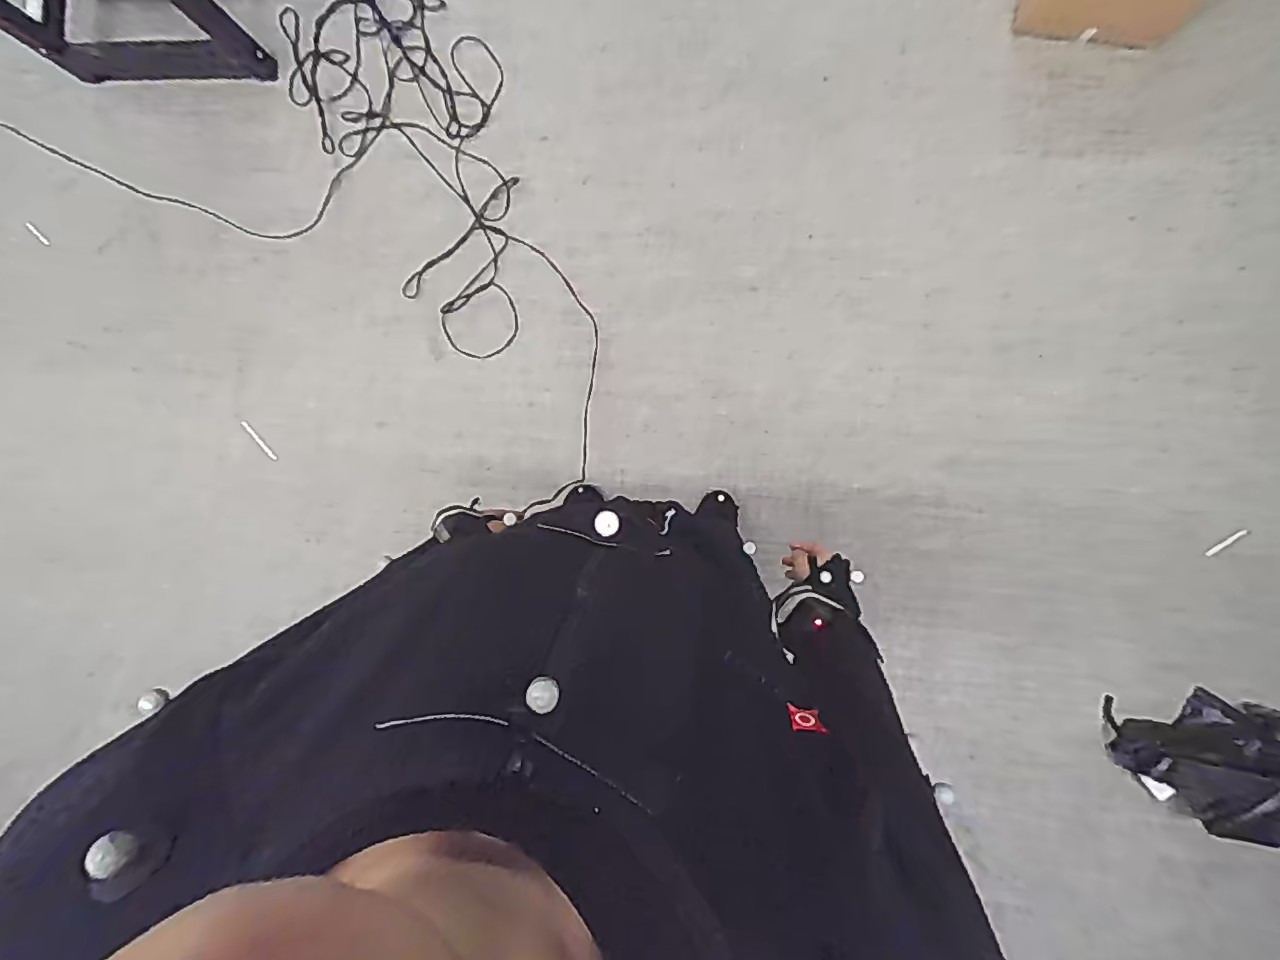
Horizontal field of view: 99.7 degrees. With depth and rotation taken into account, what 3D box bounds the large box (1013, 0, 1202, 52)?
[{"bbox_3d":[1.039,-1.202,1.100,0.320,0.320,0.408,10,93,5],"label":"large box"}]
